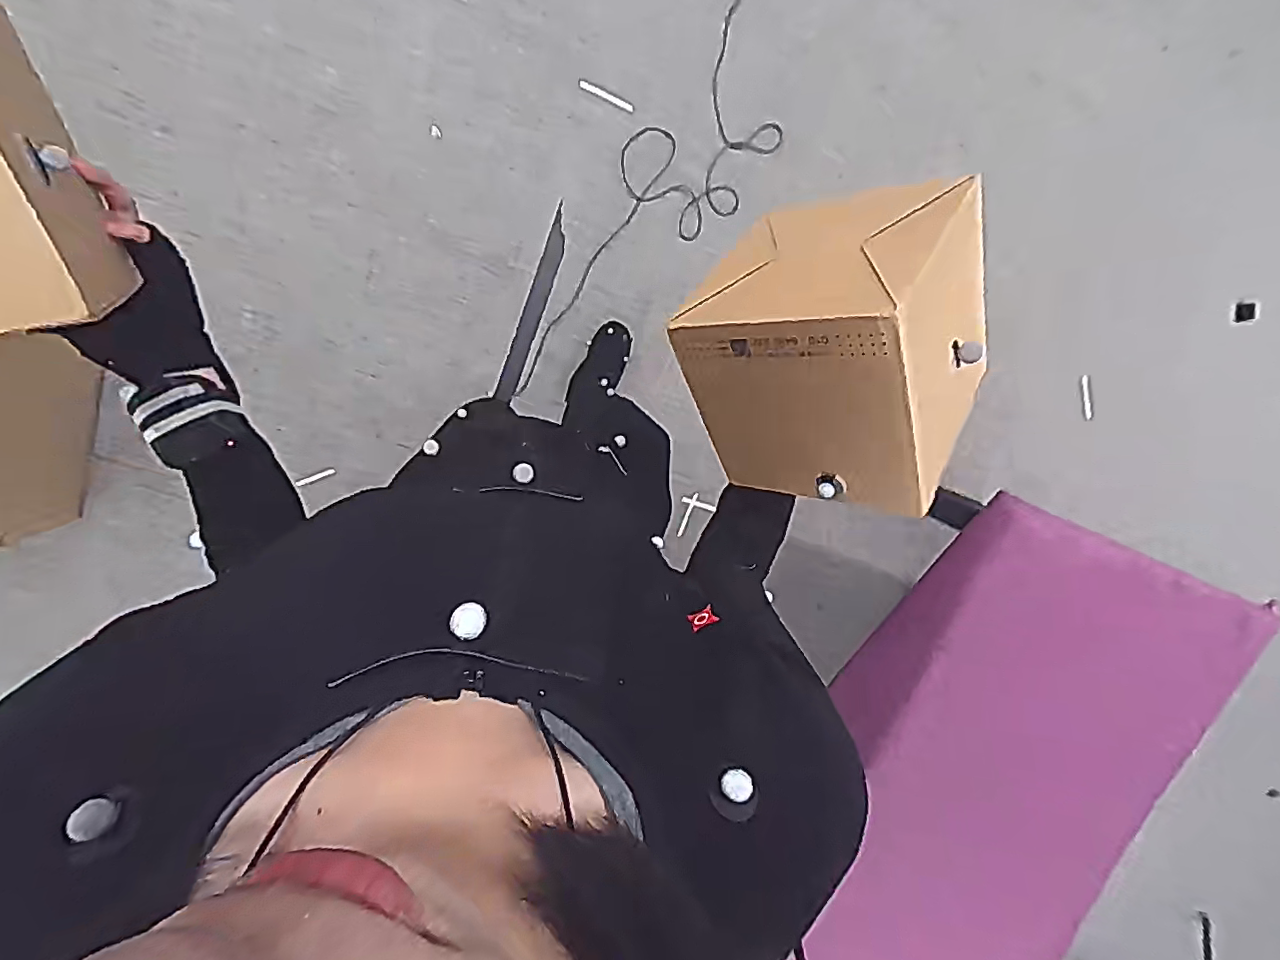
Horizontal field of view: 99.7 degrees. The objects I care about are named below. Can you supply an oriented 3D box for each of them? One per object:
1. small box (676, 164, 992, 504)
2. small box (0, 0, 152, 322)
[{"bbox_3d":[0.158,-0.111,0.419,0.179,0.168,0.176,-52,131,-26],"label":"small box"},{"bbox_3d":[-0.405,-0.171,0.276,0.168,0.179,0.176,-21,124,-25],"label":"small box"}]
